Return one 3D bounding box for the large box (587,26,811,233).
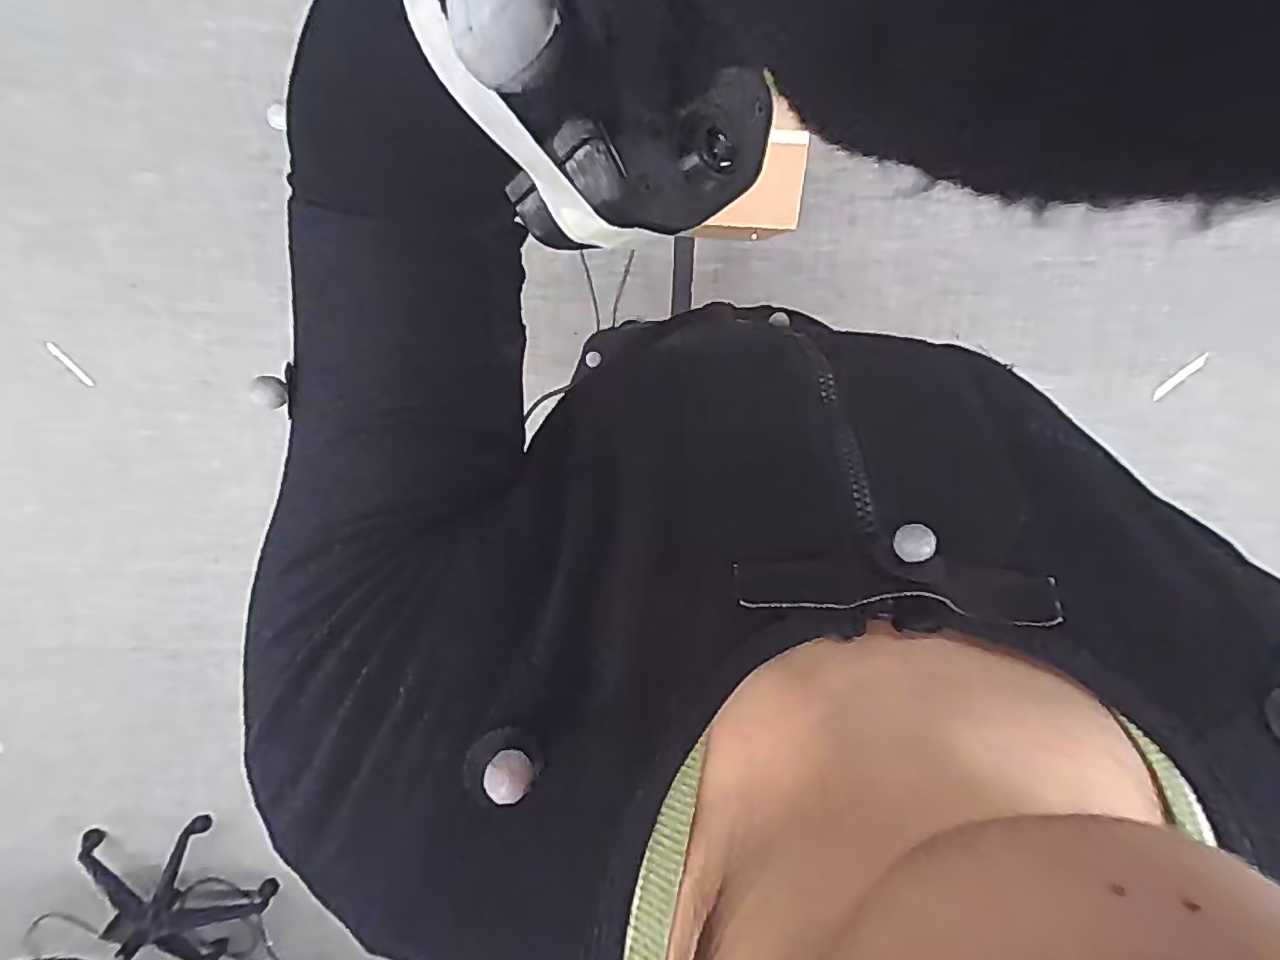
[{"bbox_3d":[0.103,-0.706,1.149,0.408,0.320,0.320,3,110,-1],"label":"large box"}]

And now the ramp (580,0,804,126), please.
[{"bbox_3d":[0.121,-1.272,1.056,0.509,0.206,0.991,0,106,-1],"label":"ramp"}]
